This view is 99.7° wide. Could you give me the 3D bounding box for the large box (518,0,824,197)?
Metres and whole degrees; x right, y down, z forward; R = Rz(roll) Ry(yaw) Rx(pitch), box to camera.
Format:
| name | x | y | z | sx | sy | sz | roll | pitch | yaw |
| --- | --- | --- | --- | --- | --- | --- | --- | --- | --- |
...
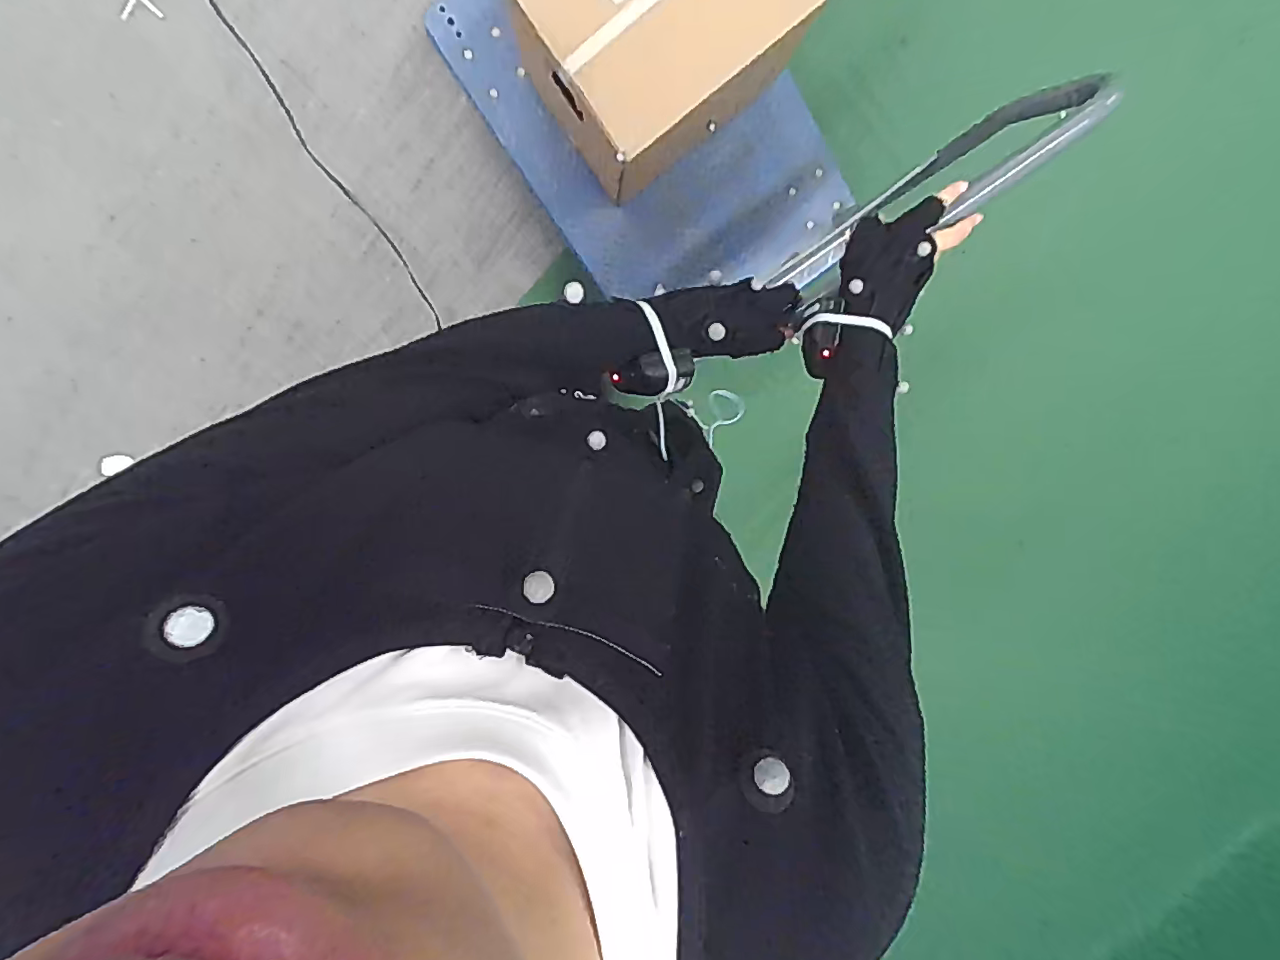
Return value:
| name | x | y | z | sx | sy | sz | roll | pitch | yaw |
| --- | --- | --- | --- | --- | --- | --- | --- | --- | --- |
| large box | 0.043 | -0.795 | 0.959 | 0.408 | 0.320 | 0.320 | -37 | 104 | 6 |
